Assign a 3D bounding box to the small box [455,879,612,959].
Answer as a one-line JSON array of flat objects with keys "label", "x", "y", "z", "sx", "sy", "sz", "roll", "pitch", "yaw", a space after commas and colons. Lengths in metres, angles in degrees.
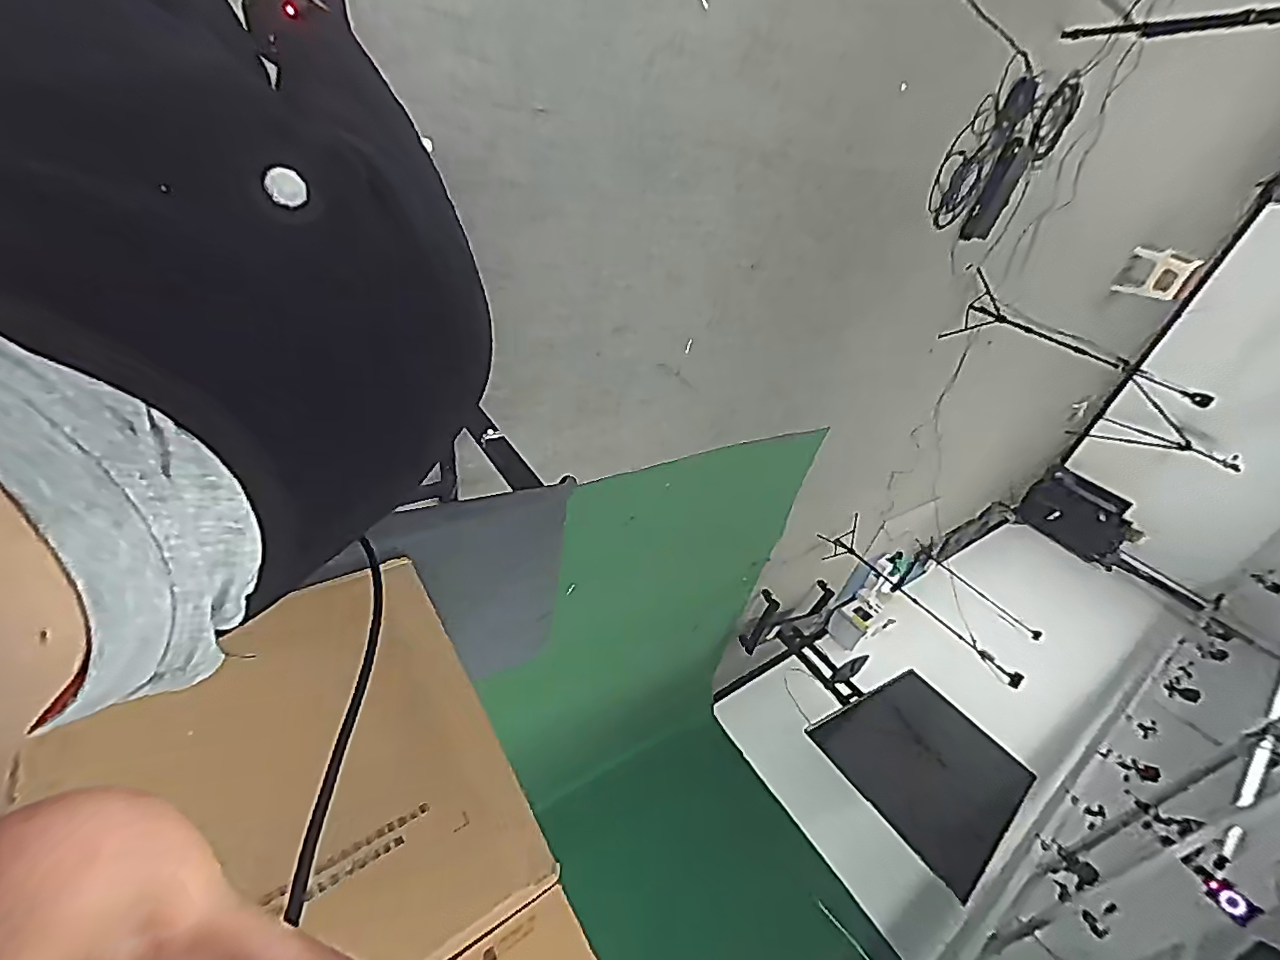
[{"label": "small box", "x": -0.128, "y": 0.647, "z": 0.671, "sx": 0.168, "sy": 0.176, "sz": 0.179, "roll": -18, "pitch": 135, "yaw": -33}]
